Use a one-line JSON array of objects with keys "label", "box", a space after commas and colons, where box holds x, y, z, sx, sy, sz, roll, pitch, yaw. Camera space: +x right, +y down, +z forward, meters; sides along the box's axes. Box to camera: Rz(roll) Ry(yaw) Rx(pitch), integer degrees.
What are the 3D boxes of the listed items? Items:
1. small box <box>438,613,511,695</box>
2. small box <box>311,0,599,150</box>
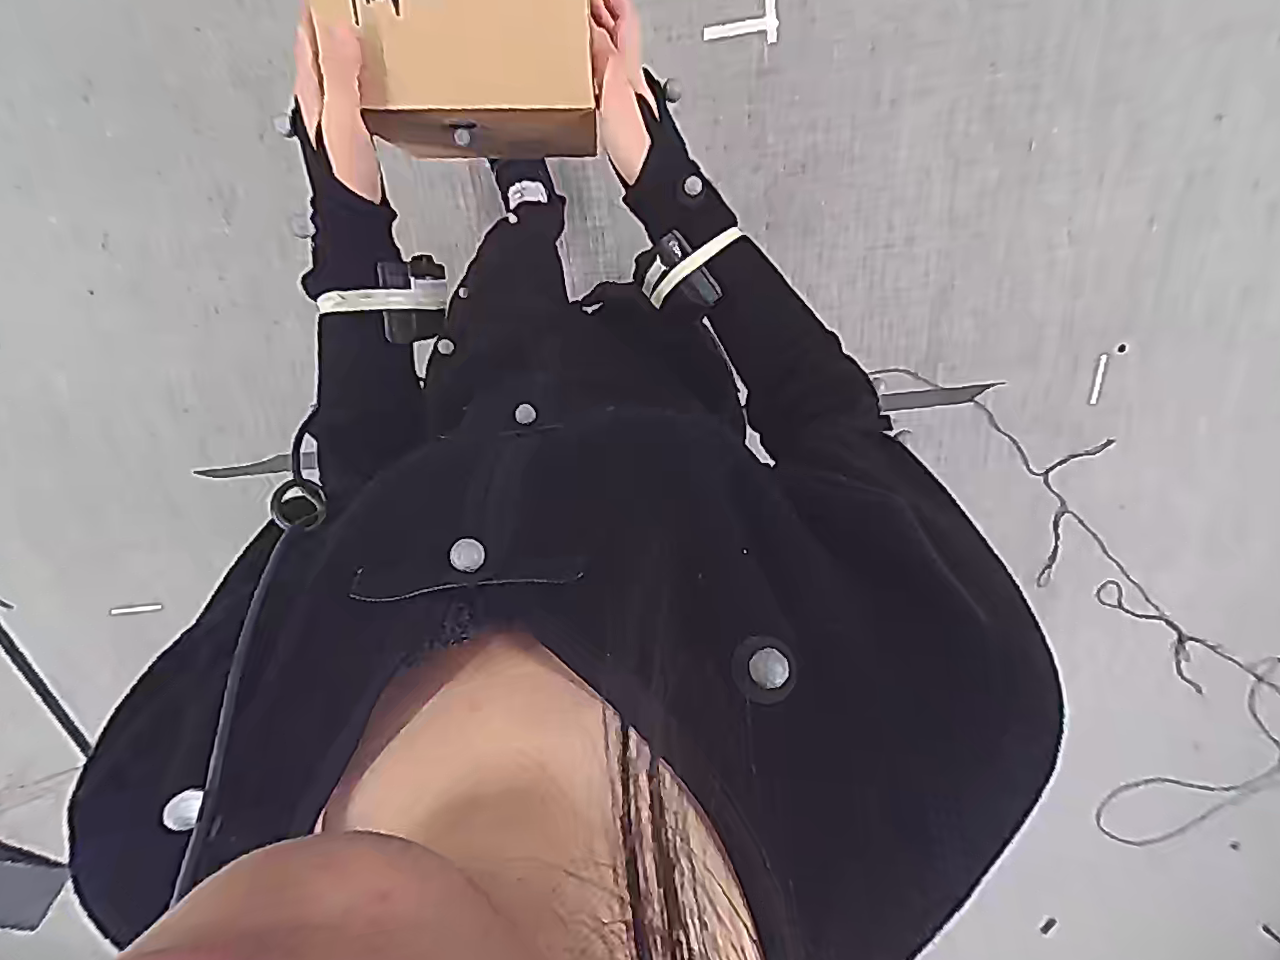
[{"label": "small box", "box": [-0.504, 0.529, 1.658, 0.179, 0.176, 0.168, 9, 112, -8]}, {"label": "small box", "box": [-0.122, -0.355, 0.400, 0.179, 0.176, 0.168, -2, 111, -3]}]
